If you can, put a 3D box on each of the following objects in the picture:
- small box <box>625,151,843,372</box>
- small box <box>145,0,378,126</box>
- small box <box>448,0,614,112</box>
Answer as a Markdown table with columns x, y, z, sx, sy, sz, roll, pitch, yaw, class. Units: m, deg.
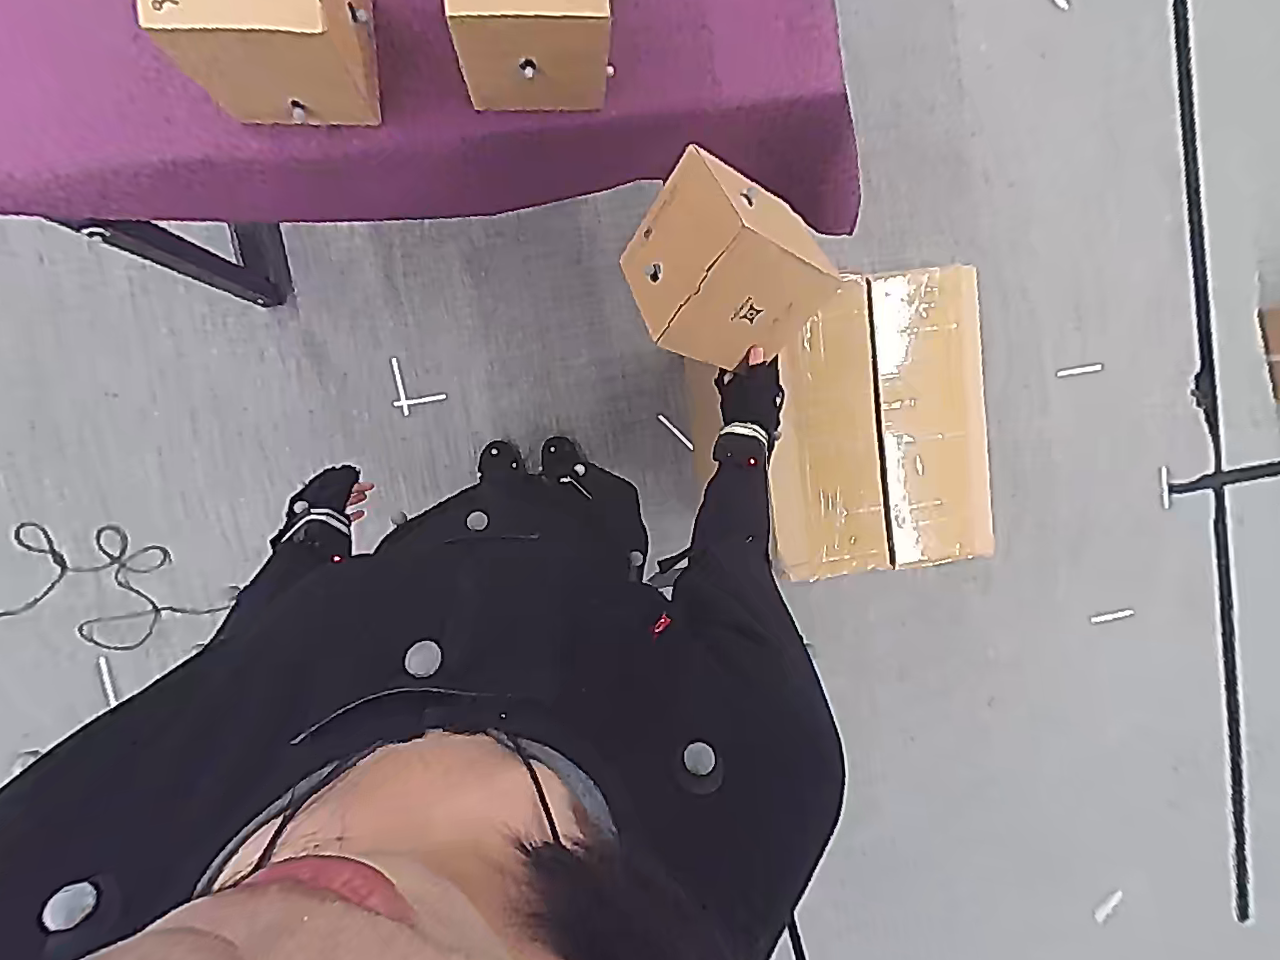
| x | y | z | sx | sy | sz | roll | pitch | yaw | class |
| --- | --- | --- | --- | --- | --- | --- | --- | --- | --- |
| 0.103 | -0.266 | 0.667 | 0.179 | 0.168 | 0.176 | 7 | 51 | -36 | small box |
| -0.416 | -0.538 | 0.619 | 0.179 | 0.176 | 0.168 | -4 | 94 | -7 | small box |
| -0.129 | -0.576 | 0.651 | 0.179 | 0.176 | 0.168 | -5 | 94 | -6 | small box |
